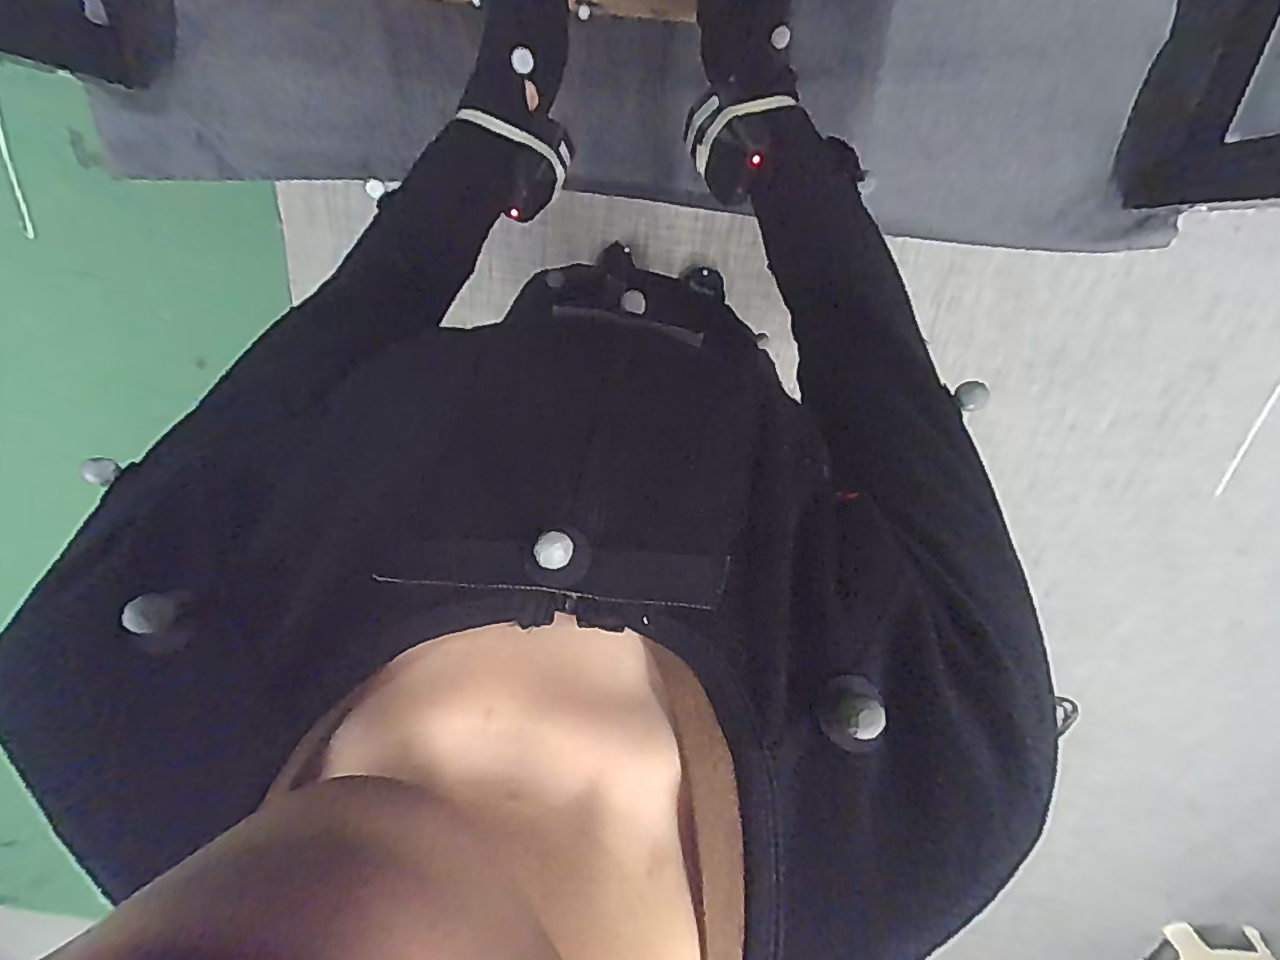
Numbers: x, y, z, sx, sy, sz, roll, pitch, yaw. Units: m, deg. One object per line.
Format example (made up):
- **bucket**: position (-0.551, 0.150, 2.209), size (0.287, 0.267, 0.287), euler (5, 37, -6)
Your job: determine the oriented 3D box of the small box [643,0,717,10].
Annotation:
- **small box**: position (0.000, -0.519, 0.434), size (0.168, 0.176, 0.179), euler (6, 113, 1)
